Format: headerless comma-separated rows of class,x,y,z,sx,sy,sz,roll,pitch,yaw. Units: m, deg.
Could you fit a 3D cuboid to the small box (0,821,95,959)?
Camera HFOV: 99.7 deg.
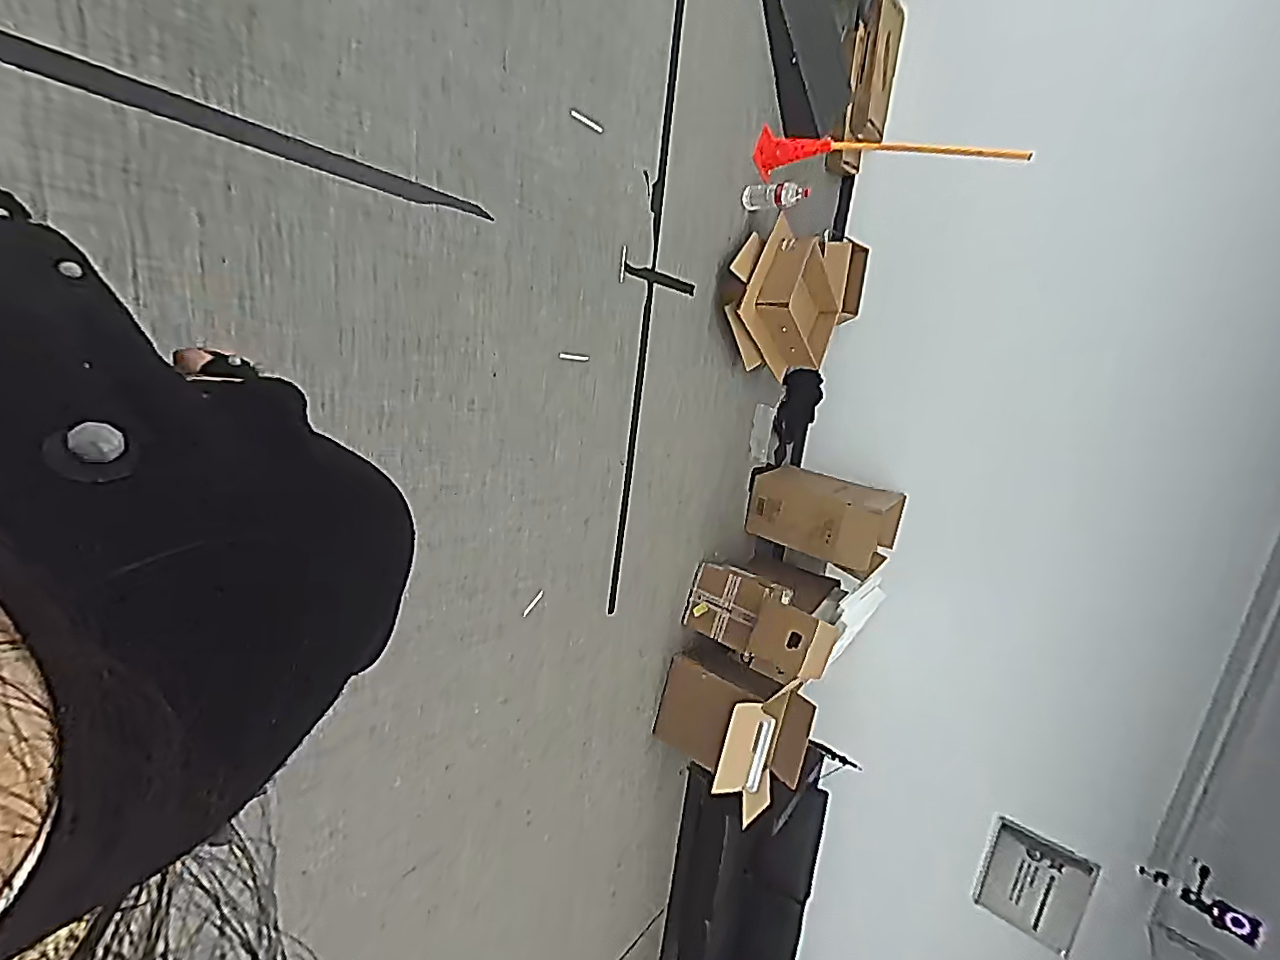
small box,-1.023,0.710,0.877,0.168,0.176,0.179,-14,113,-50
